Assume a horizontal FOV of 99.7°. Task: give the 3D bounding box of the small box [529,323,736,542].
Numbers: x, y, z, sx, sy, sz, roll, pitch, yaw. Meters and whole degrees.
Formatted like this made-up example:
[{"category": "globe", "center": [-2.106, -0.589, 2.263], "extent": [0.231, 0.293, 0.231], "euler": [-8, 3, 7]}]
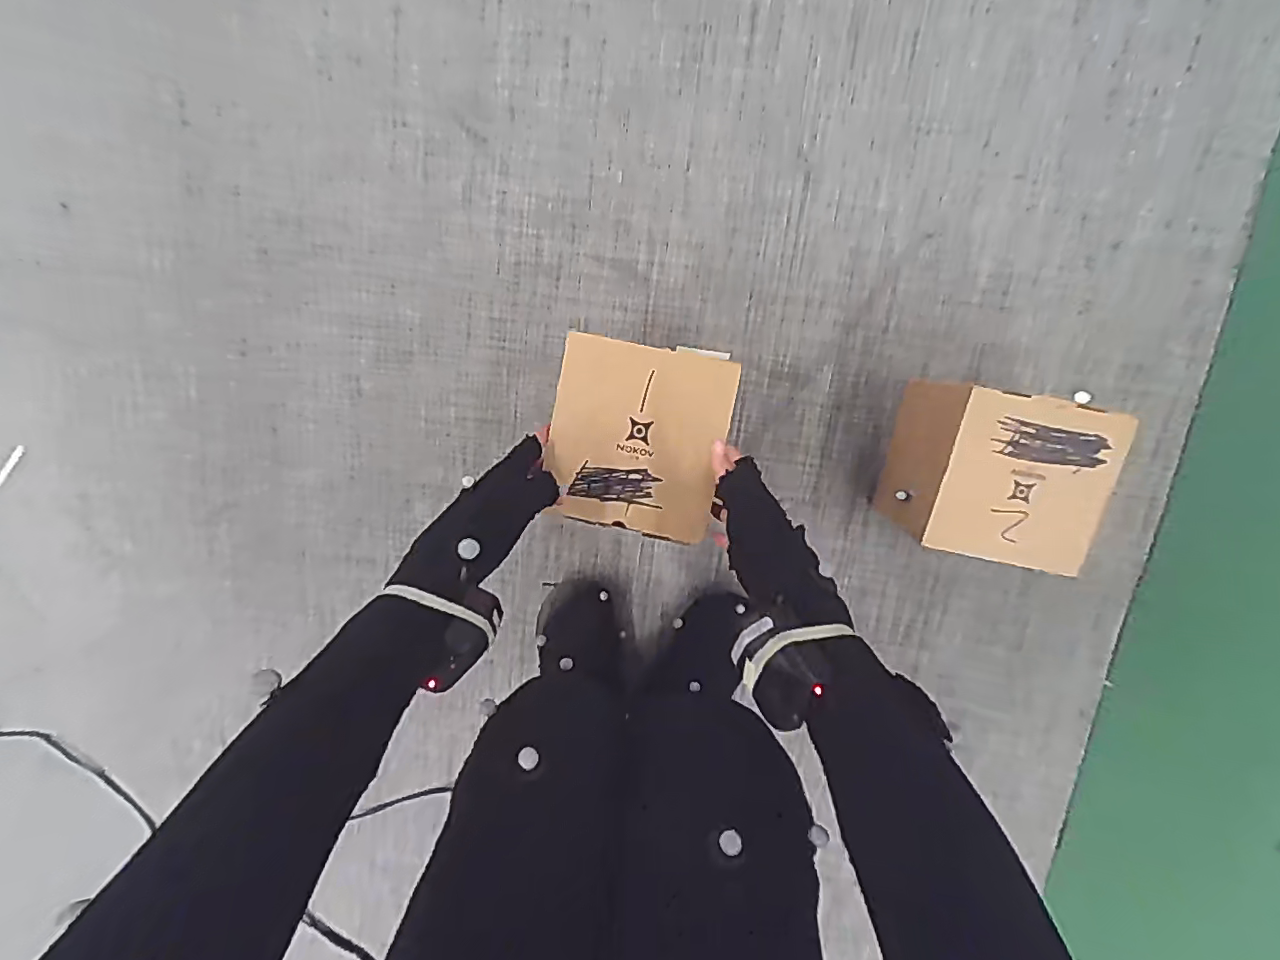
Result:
[{"category": "small box", "center": [-0.004, -0.049, 0.576], "extent": [0.168, 0.176, 0.179], "euler": [12, 95, 2]}]
